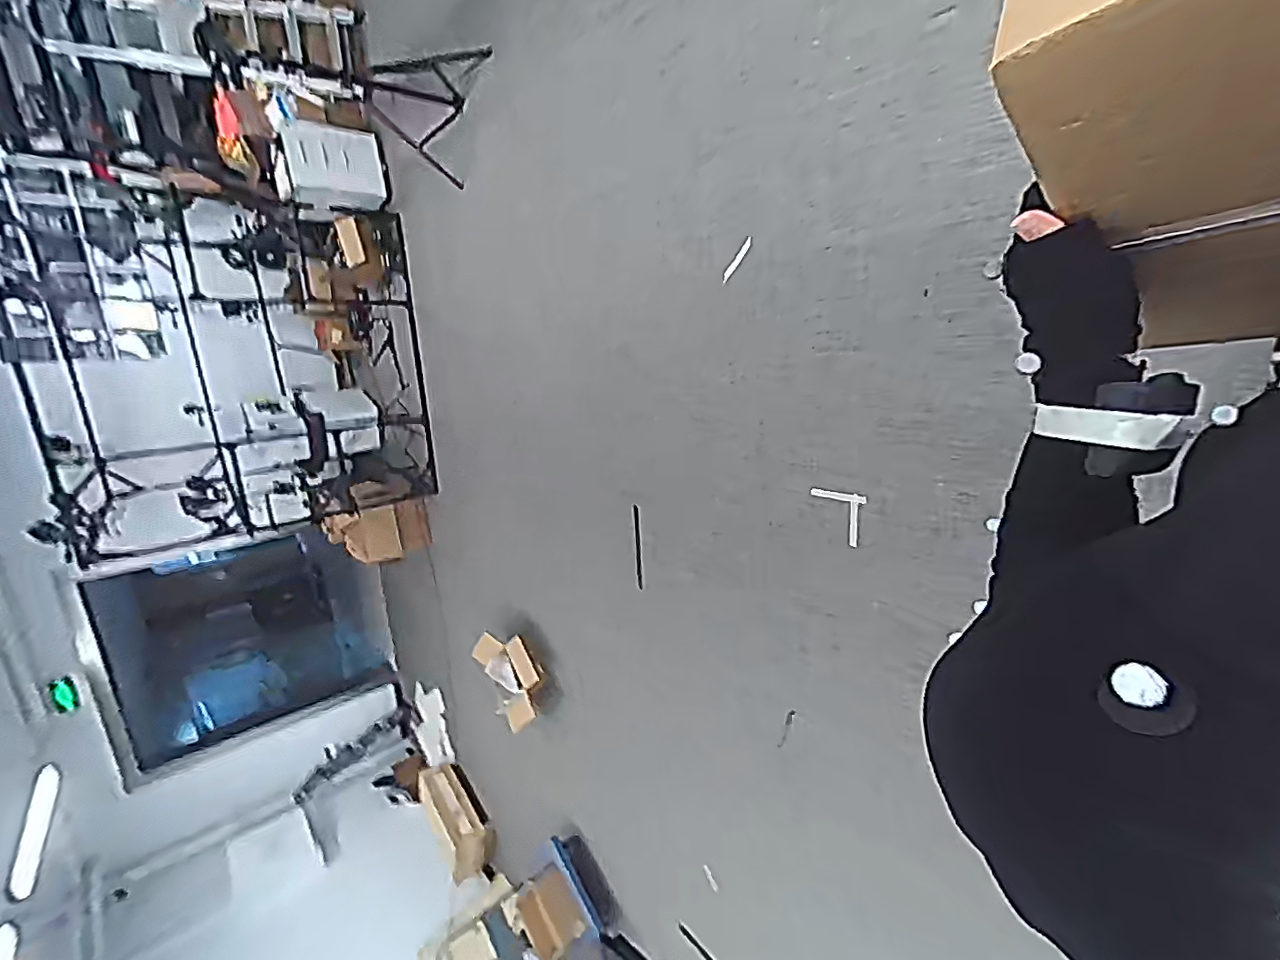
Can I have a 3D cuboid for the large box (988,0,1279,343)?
[{"bbox_3d":[0.434,-0.287,0.214,0.408,0.320,0.320,5,79,51],"label":"large box"}]
